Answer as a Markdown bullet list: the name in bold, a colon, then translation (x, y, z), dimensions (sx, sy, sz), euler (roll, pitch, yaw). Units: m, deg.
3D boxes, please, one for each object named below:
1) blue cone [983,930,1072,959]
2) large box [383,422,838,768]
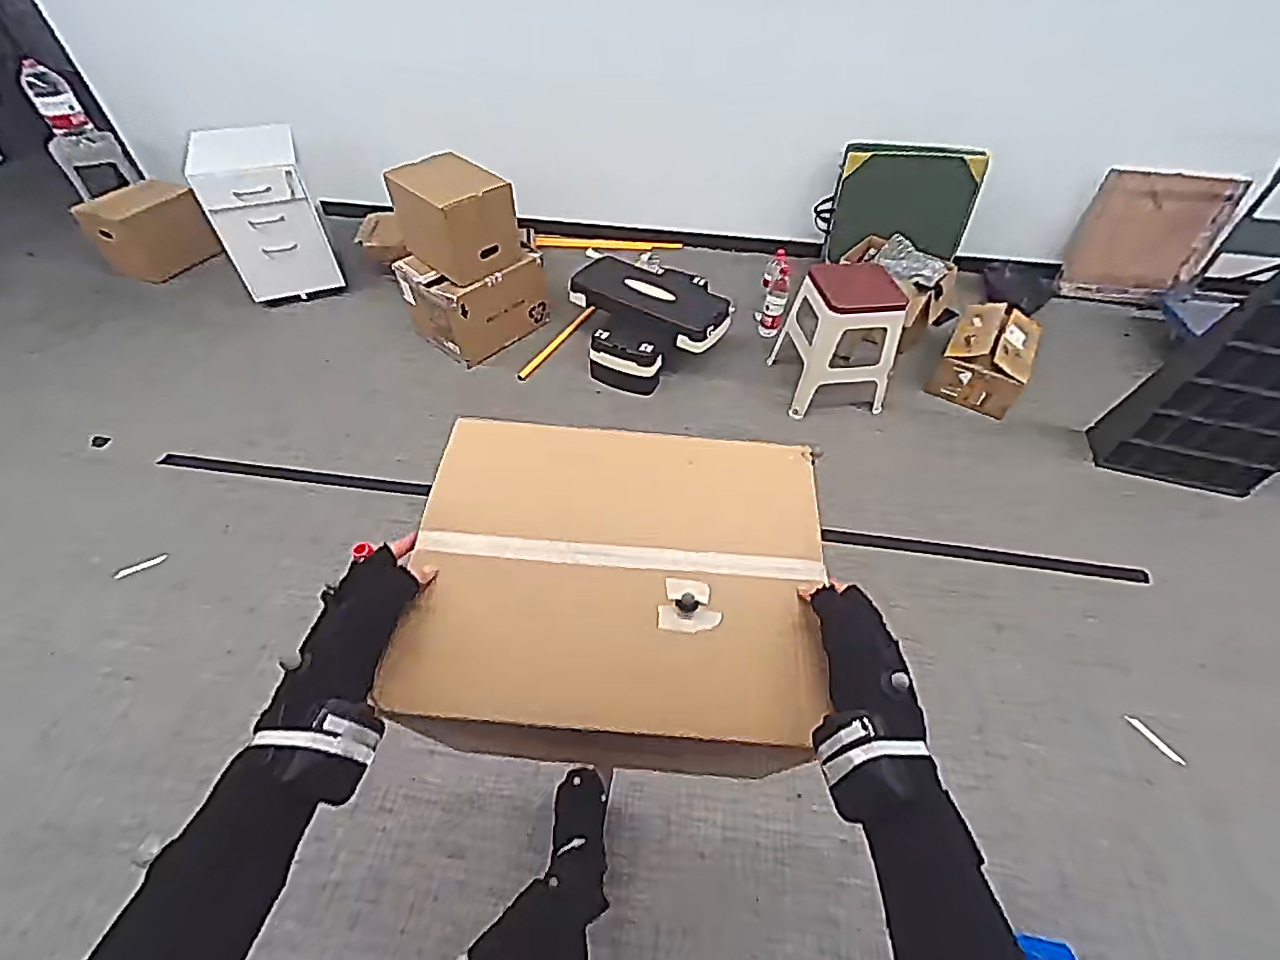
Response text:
- **blue cone**: translation (0.798, 0.922, 0.949), dimensions (0.192, 0.380, 0.193), euler (11, 50, 6)
- **large box**: translation (-0.025, 0.156, 0.668), dimensions (0.408, 0.320, 0.320), euler (5, 58, 0)
